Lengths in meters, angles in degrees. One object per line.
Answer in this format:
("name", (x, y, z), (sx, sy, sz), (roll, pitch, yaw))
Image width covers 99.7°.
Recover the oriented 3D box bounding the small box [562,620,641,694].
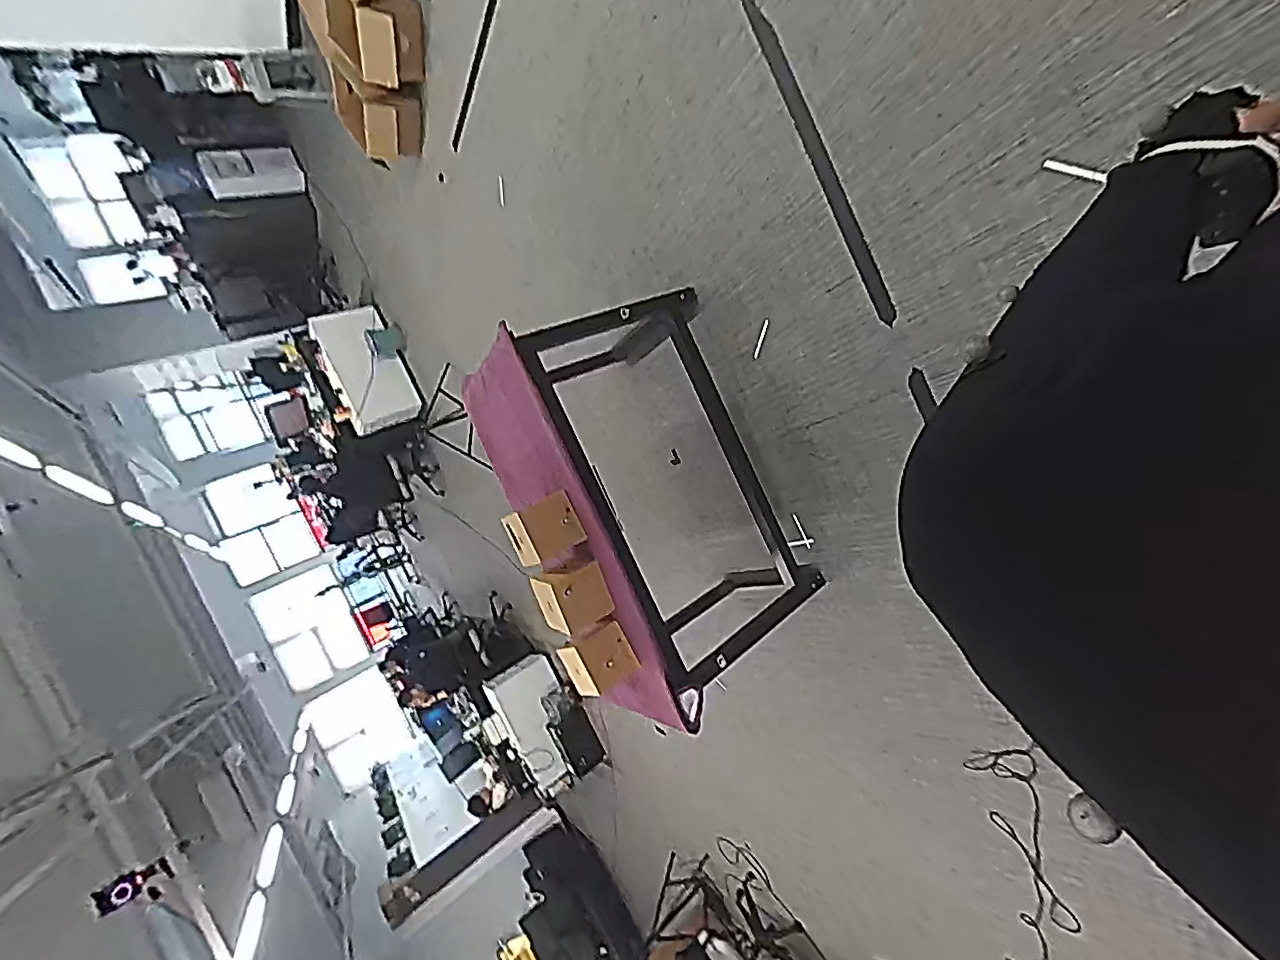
("small box", (-0.118, 0.560, 1.723), (0.168, 0.176, 0.179), (61, 148, 5))
